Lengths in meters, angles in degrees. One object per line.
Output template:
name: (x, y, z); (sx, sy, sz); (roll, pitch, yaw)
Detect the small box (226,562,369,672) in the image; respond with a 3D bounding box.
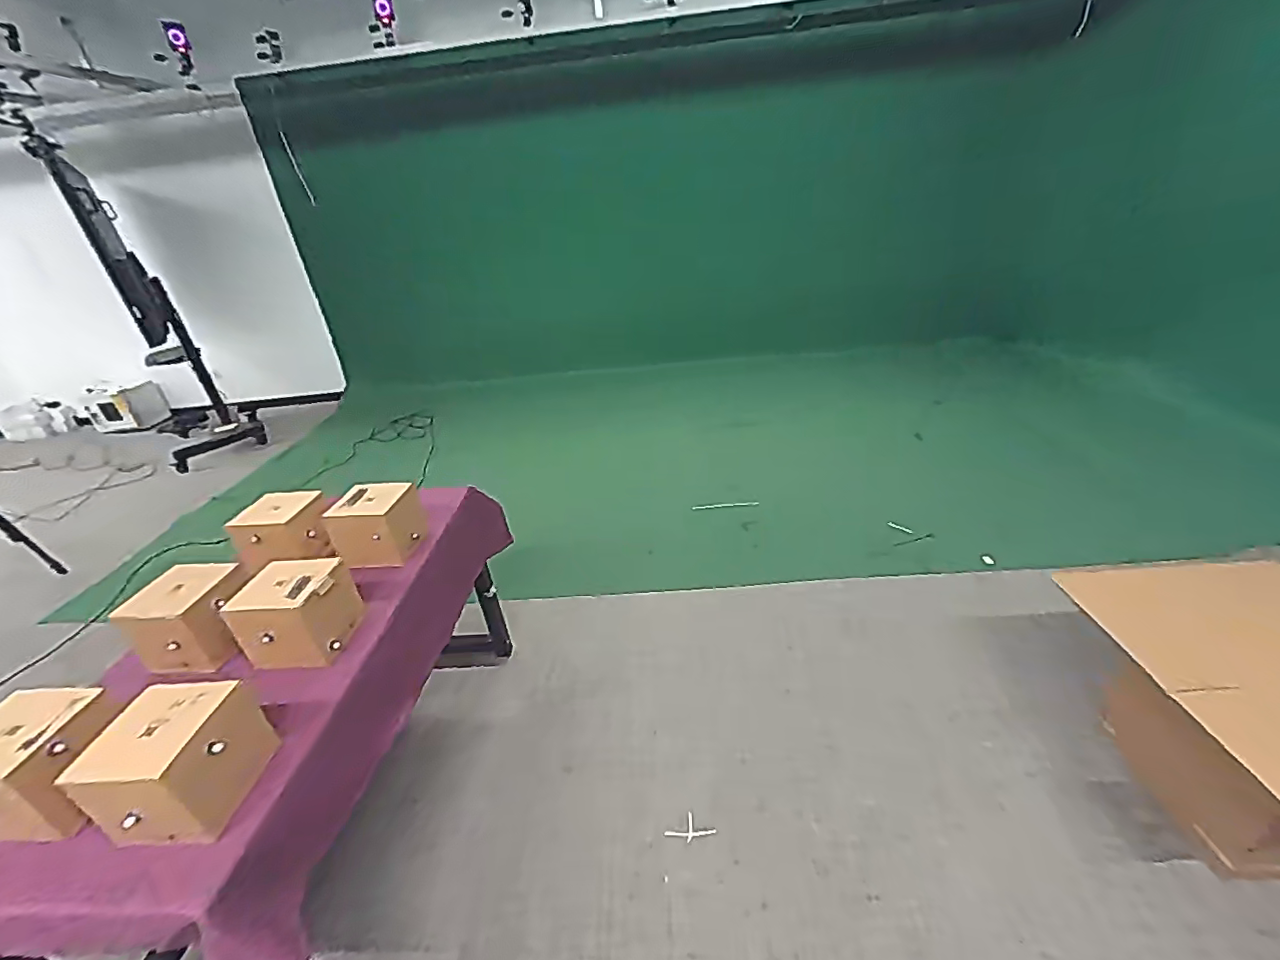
small box: (-0.737, 0.301, 1.189); (0.179, 0.176, 0.168); (-5, 28, 7)

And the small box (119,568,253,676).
small box: (-0.984, 0.321, 1.219); (0.168, 0.176, 0.179); (-3, 28, 8)

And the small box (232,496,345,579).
small box: (-0.964, 0.161, 1.504); (0.179, 0.176, 0.168); (-4, 29, 8)

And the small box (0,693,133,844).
small box: (-0.993, 0.486, 0.915); (0.179, 0.176, 0.168); (-5, 28, 7)

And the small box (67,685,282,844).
small box: (-0.737, 0.467, 0.885); (0.168, 0.176, 0.179); (-5, 28, 5)
